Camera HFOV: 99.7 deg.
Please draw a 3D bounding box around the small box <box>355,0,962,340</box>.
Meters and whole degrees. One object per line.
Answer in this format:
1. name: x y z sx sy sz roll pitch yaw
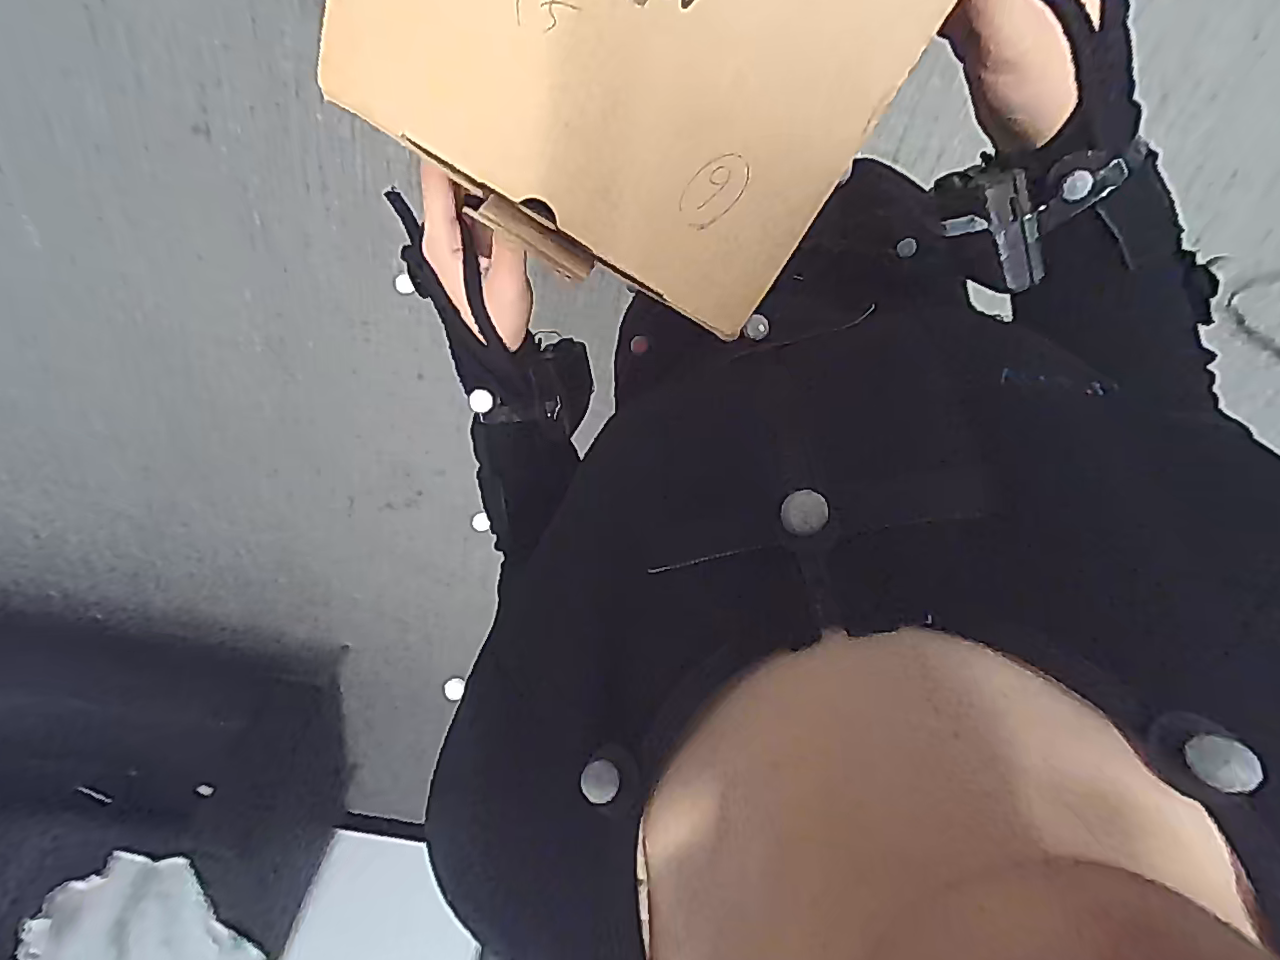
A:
1. small box: 0.018 -0.195 0.234 0.168 0.176 0.179 29 119 -9
